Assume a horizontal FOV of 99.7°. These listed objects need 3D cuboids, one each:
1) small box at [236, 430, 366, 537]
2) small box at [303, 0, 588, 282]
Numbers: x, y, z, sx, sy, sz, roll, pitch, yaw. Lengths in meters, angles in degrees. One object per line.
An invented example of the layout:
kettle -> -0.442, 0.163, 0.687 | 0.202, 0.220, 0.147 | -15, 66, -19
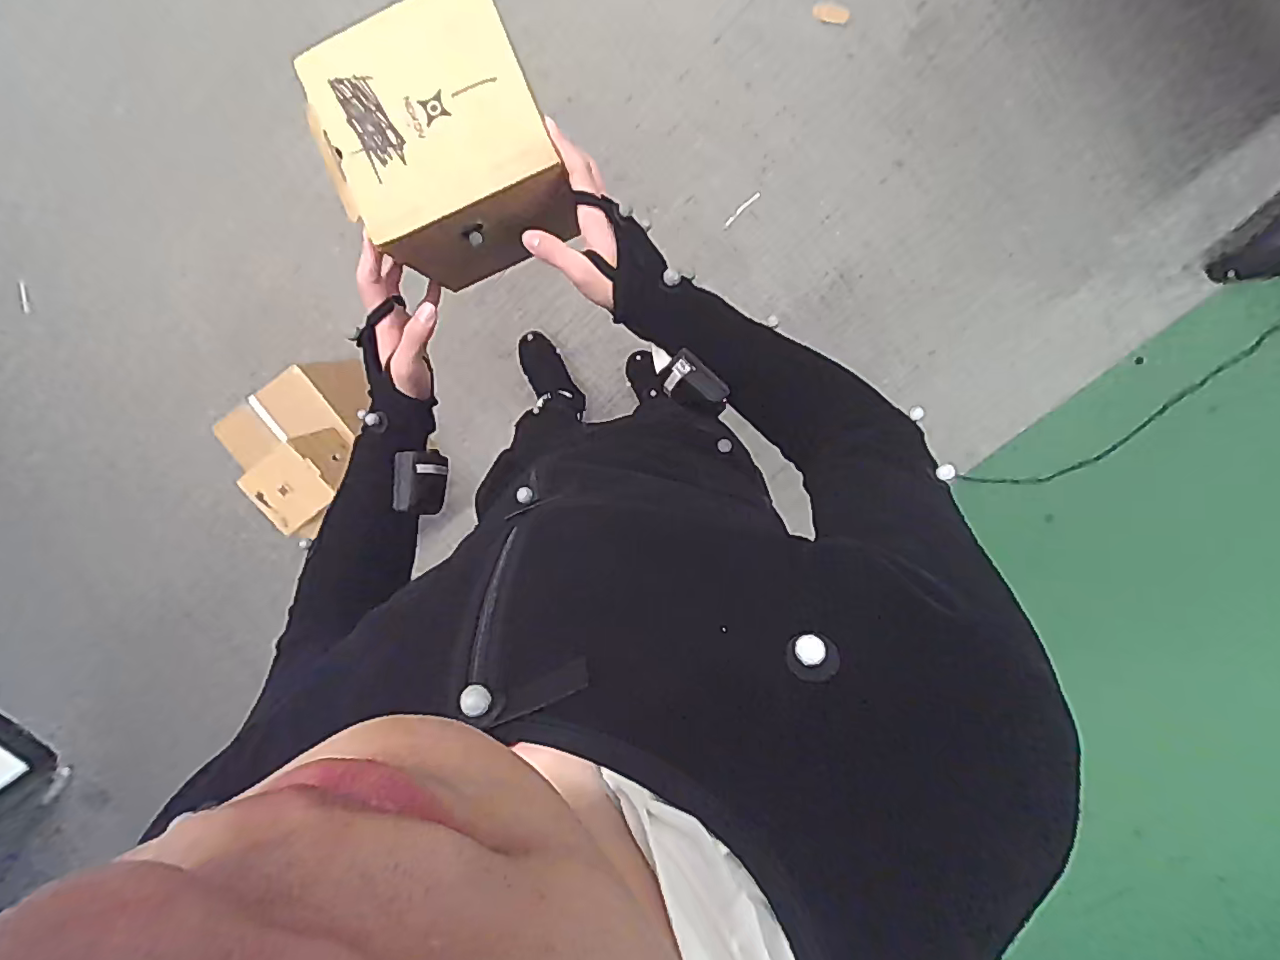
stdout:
small box -> -0.796, 0.000, 1.296 | 0.179, 0.176, 0.168 | -36, 101, 11
small box -> -0.167, -0.315, 0.524 | 0.179, 0.176, 0.168 | -21, 95, 5
